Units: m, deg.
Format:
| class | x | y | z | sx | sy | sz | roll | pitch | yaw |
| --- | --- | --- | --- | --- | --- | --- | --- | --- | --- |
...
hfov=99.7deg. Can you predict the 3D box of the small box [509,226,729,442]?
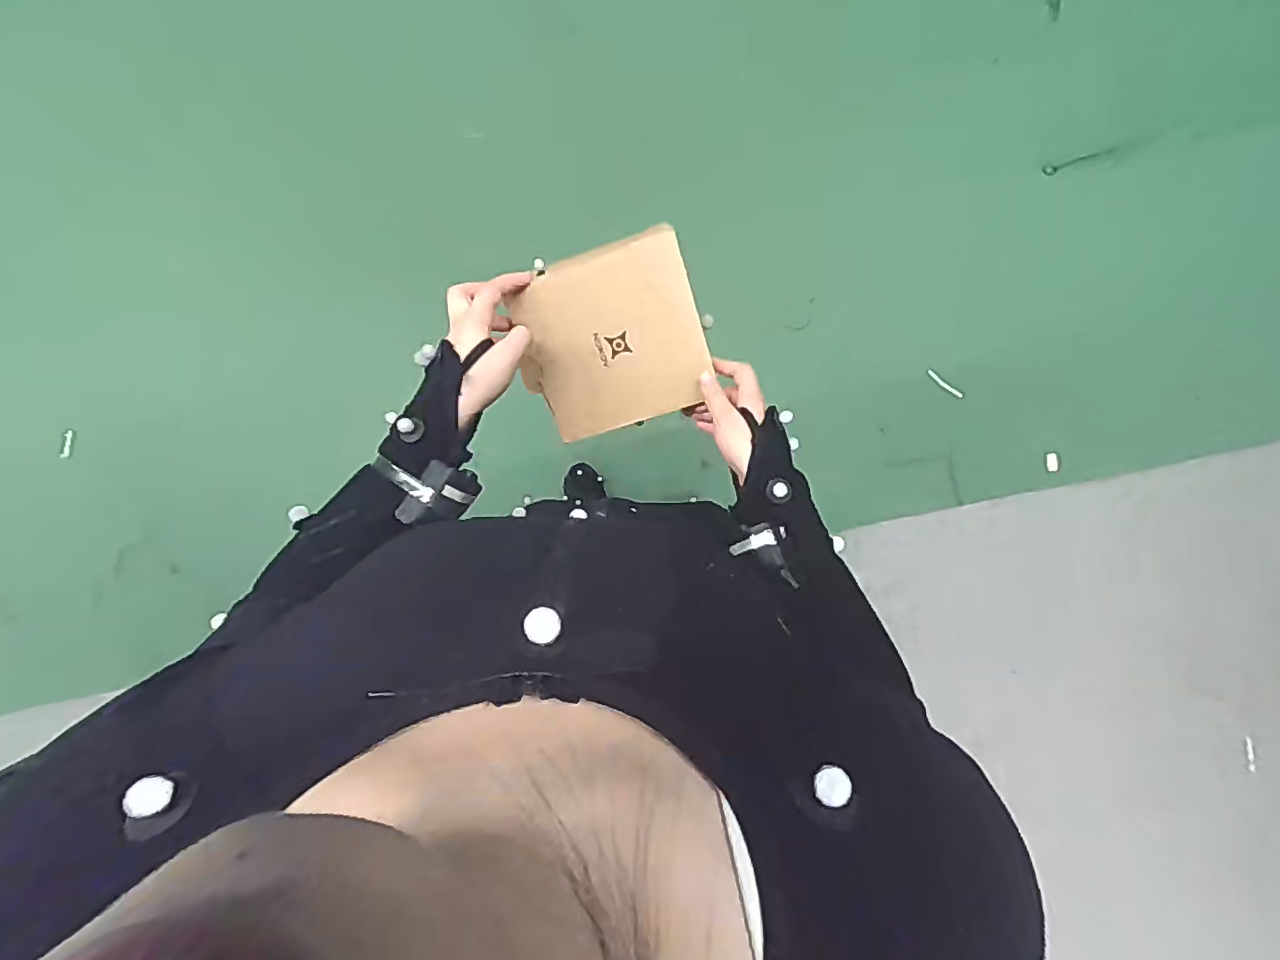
| class | x | y | z | sx | sy | sz | roll | pitch | yaw |
| --- | --- | --- | --- | --- | --- | --- | --- | --- | --- |
| small box | -0.016 | -0.167 | 0.590 | 0.179 | 0.176 | 0.168 | -16 | 115 | 9 |
